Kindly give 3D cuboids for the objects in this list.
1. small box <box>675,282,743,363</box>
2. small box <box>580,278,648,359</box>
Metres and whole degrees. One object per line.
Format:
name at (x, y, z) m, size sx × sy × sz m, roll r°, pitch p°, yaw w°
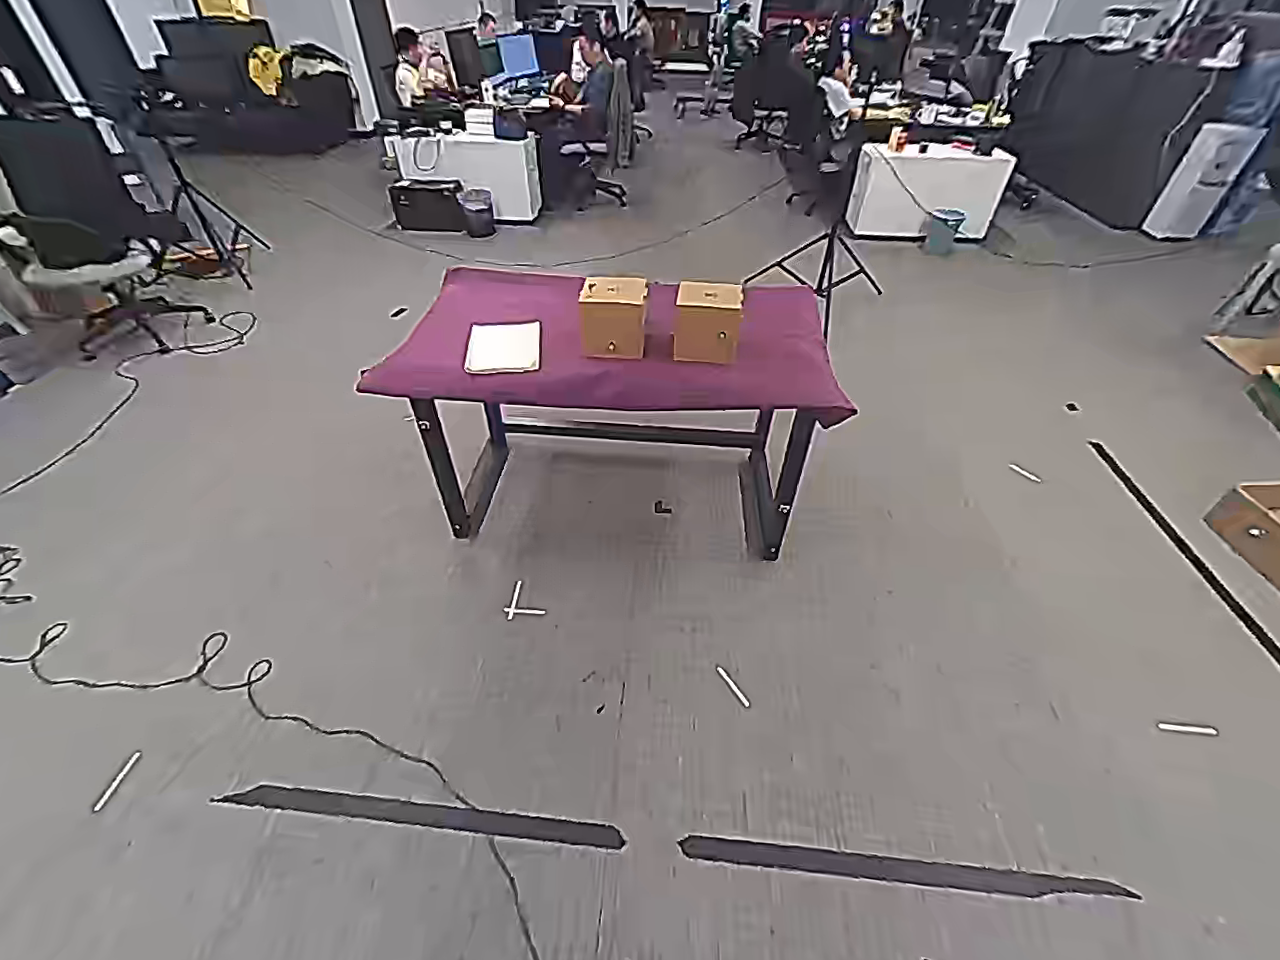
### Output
small box at (0.194, -0.444, 1.534) m, size 0.179 × 0.176 × 0.168 m, roll 4°, pitch 41°, yaw 7°
small box at (-0.071, -0.460, 1.547) m, size 0.179 × 0.176 × 0.168 m, roll 4°, pitch 42°, yaw 2°
